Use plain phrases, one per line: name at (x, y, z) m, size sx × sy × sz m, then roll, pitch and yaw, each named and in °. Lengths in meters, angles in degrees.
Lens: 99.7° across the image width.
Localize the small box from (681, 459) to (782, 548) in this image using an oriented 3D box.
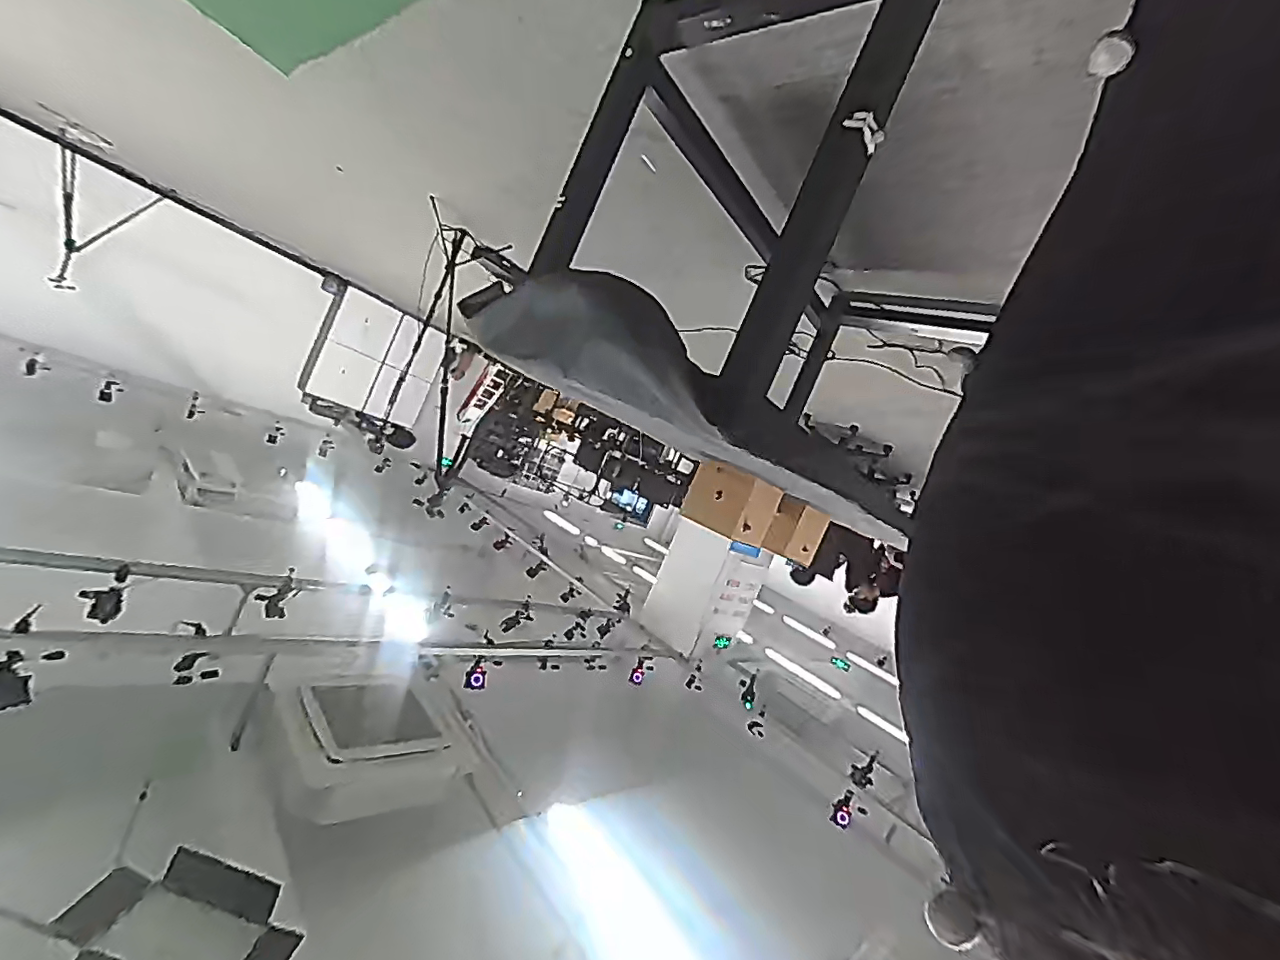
small box at (0.241, 0.059, 1.401) m, size 0.168 × 0.176 × 0.179 m, roll 25°, pitch -178°, yaw 38°

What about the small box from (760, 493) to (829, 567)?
small box at (0.432, 0.137, 1.601) m, size 0.168 × 0.176 × 0.179 m, roll 24°, pitch -179°, yaw 44°
